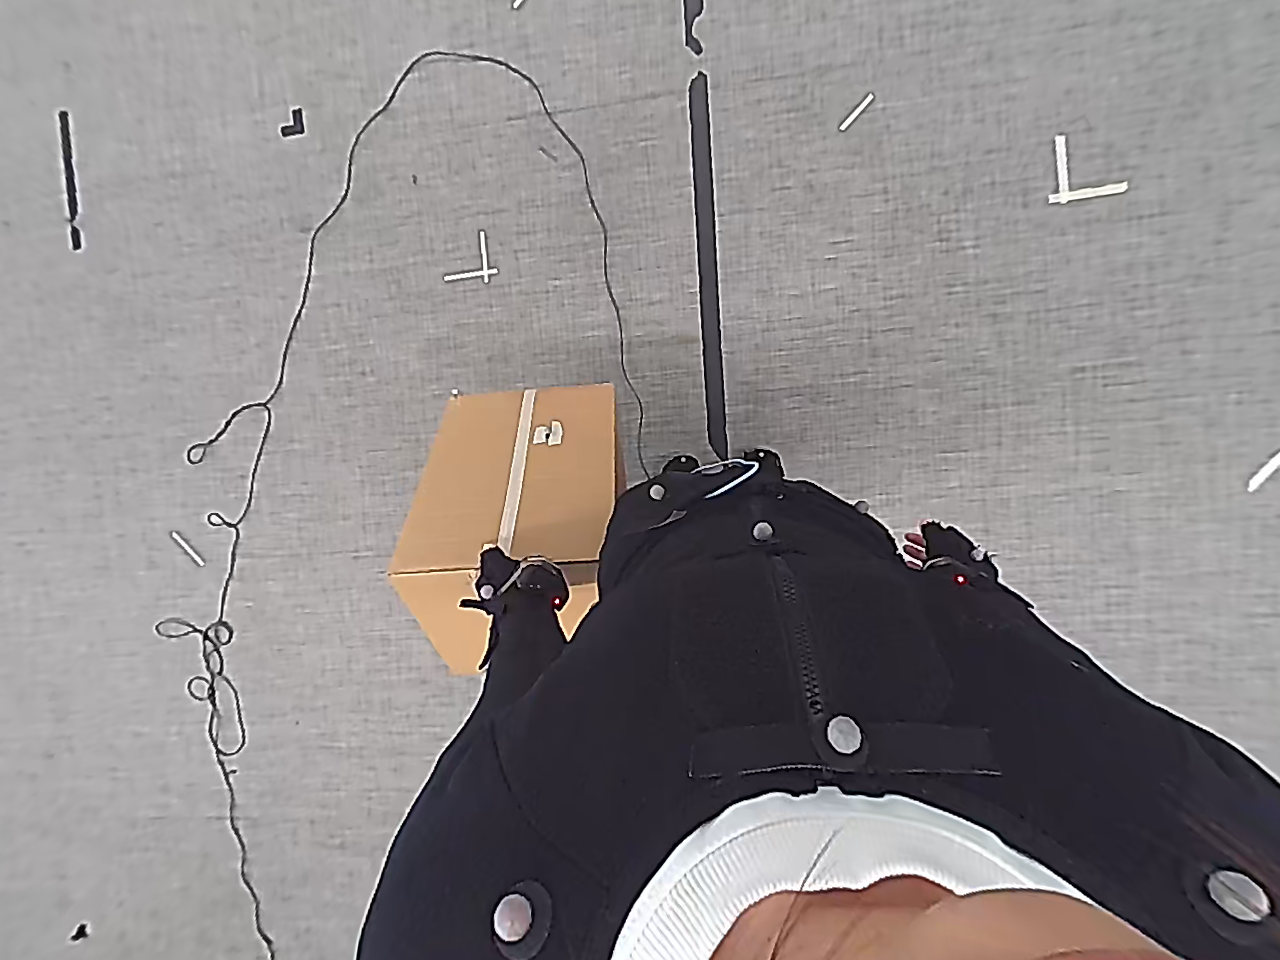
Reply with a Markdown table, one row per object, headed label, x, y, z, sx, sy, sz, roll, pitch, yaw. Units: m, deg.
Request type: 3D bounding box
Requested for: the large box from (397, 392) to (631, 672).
| label | x | y | z | sx | sy | sz | roll | pitch | yaw |
| --- | --- | --- | --- | --- | --- | --- | --- | --- | --- |
| large box | -0.188 | 0.090 | 0.994 | 0.320 | 0.408 | 0.320 | -4 | 135 | 1 |
